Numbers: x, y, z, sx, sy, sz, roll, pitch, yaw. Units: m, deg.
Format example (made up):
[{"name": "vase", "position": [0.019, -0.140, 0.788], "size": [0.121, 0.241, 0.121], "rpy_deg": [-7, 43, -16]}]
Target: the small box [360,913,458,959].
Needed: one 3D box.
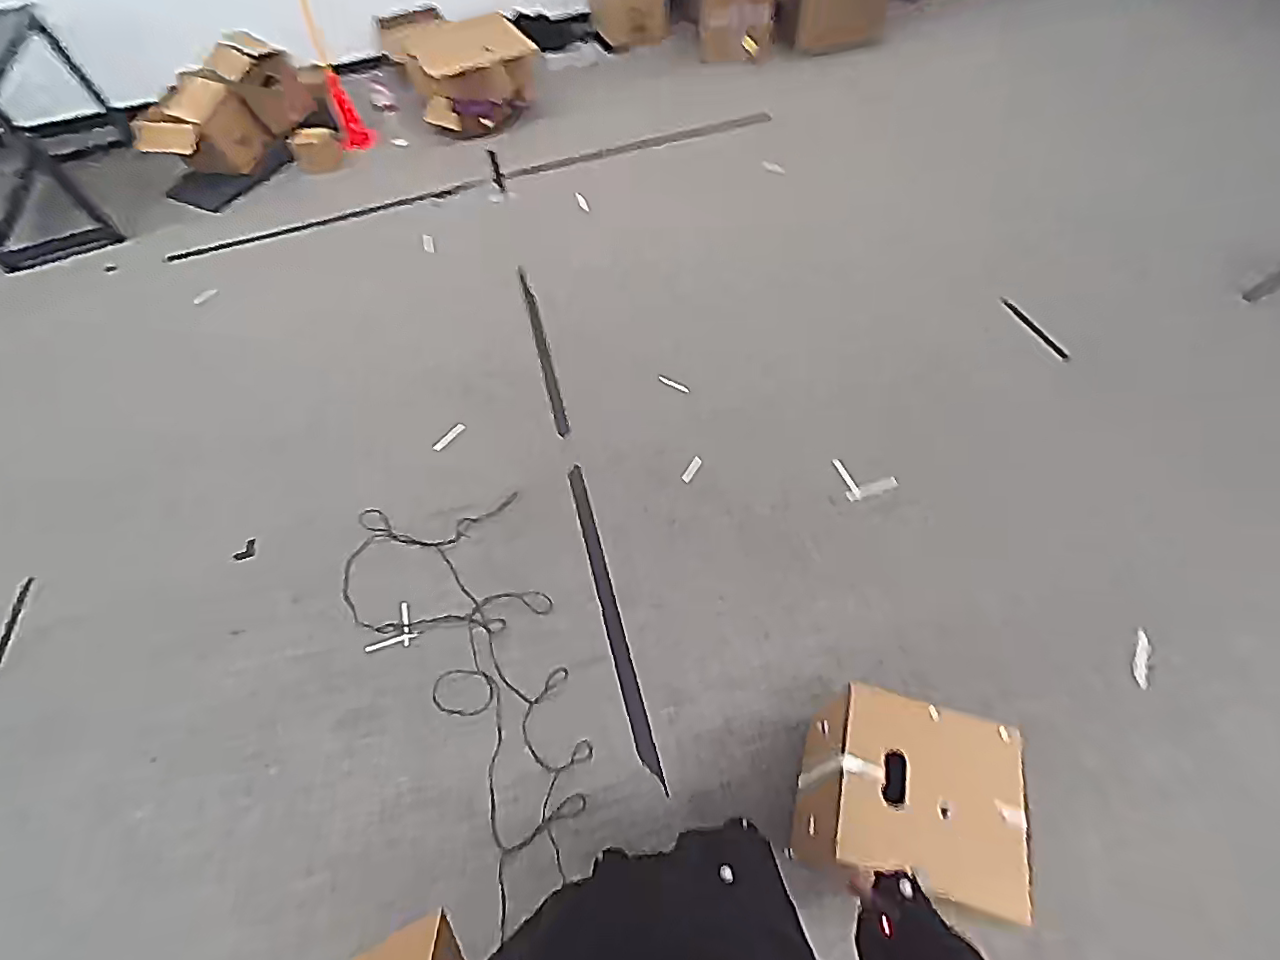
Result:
[{"name": "small box", "position": [-0.302, 0.712, 0.668], "size": [0.168, 0.179, 0.176], "rpy_deg": [-22, 90, -14]}]
